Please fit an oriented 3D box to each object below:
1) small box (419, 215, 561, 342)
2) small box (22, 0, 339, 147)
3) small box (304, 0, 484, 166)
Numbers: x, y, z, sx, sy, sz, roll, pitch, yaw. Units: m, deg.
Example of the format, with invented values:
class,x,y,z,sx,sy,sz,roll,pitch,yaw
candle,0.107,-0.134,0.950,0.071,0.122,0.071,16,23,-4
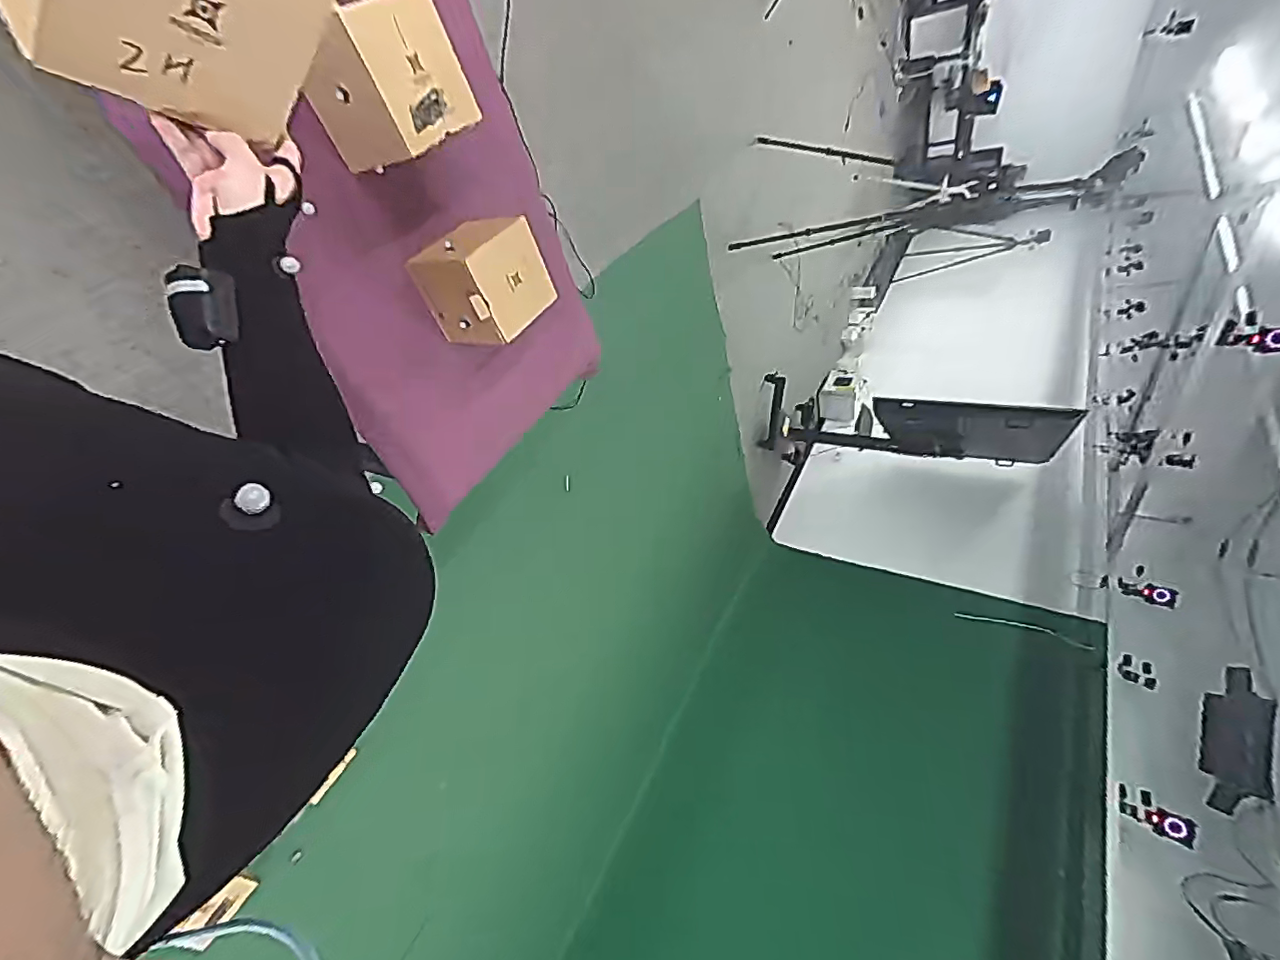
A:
class,x,y,z,sx,sy,sz,roll,pitch,yaw
small box,-0.289,-0.379,1.031,0.179,0.176,0.168,-56,141,-32
small box,-0.384,-0.430,0.436,0.179,0.176,0.168,-42,165,26
small box,-0.380,-0.601,0.819,0.168,0.176,0.179,-56,140,-32
